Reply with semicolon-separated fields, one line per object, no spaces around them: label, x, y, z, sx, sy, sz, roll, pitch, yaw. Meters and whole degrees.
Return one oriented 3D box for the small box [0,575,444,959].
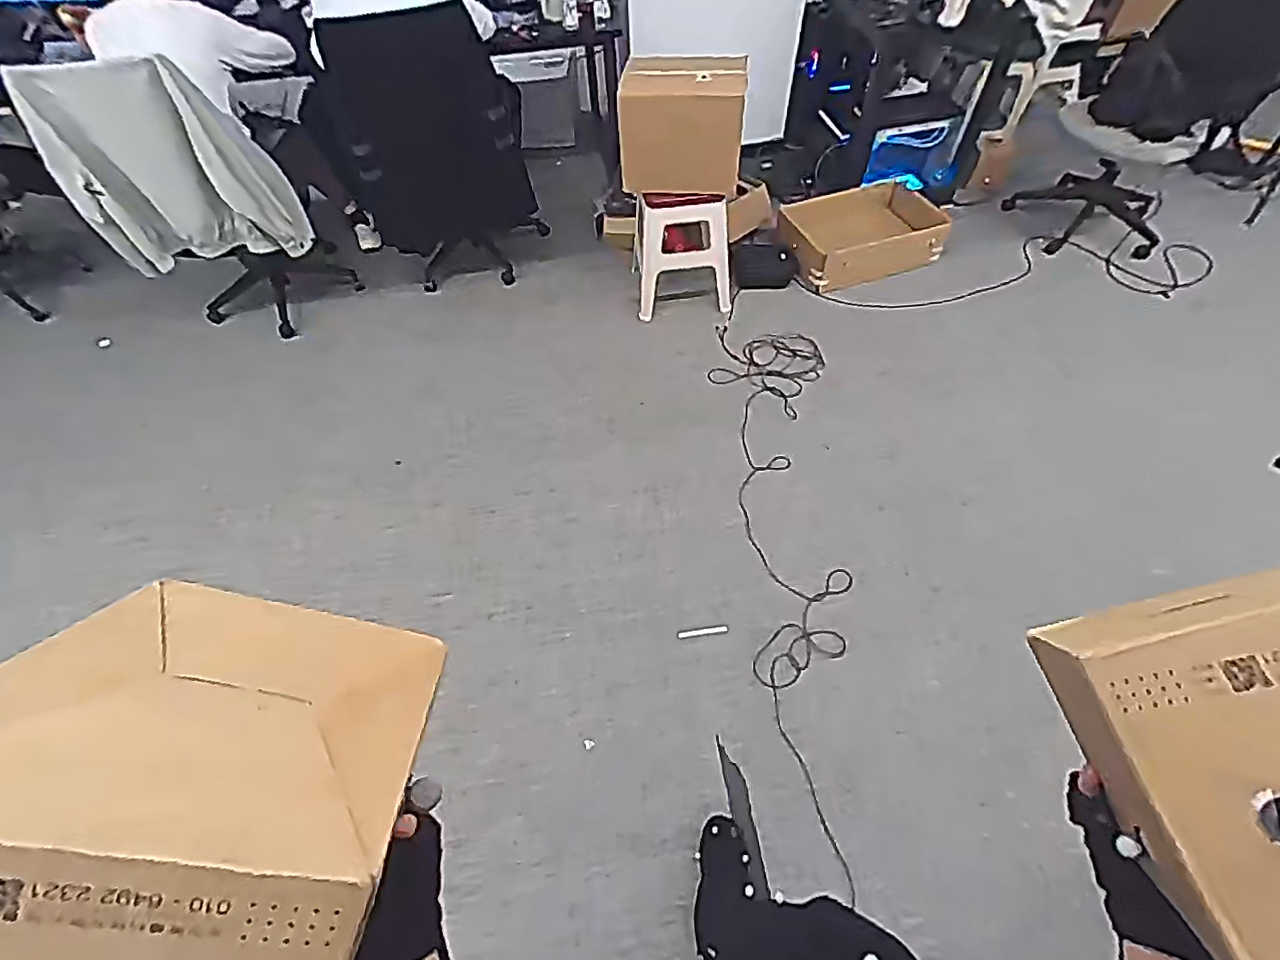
small box;-0.203;0.160;0.246;0.168;0.179;0.176;18;96;-14

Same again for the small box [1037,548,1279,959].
small box;0.362;0.138;0.303;0.168;0.179;0.176;-24;71;22
